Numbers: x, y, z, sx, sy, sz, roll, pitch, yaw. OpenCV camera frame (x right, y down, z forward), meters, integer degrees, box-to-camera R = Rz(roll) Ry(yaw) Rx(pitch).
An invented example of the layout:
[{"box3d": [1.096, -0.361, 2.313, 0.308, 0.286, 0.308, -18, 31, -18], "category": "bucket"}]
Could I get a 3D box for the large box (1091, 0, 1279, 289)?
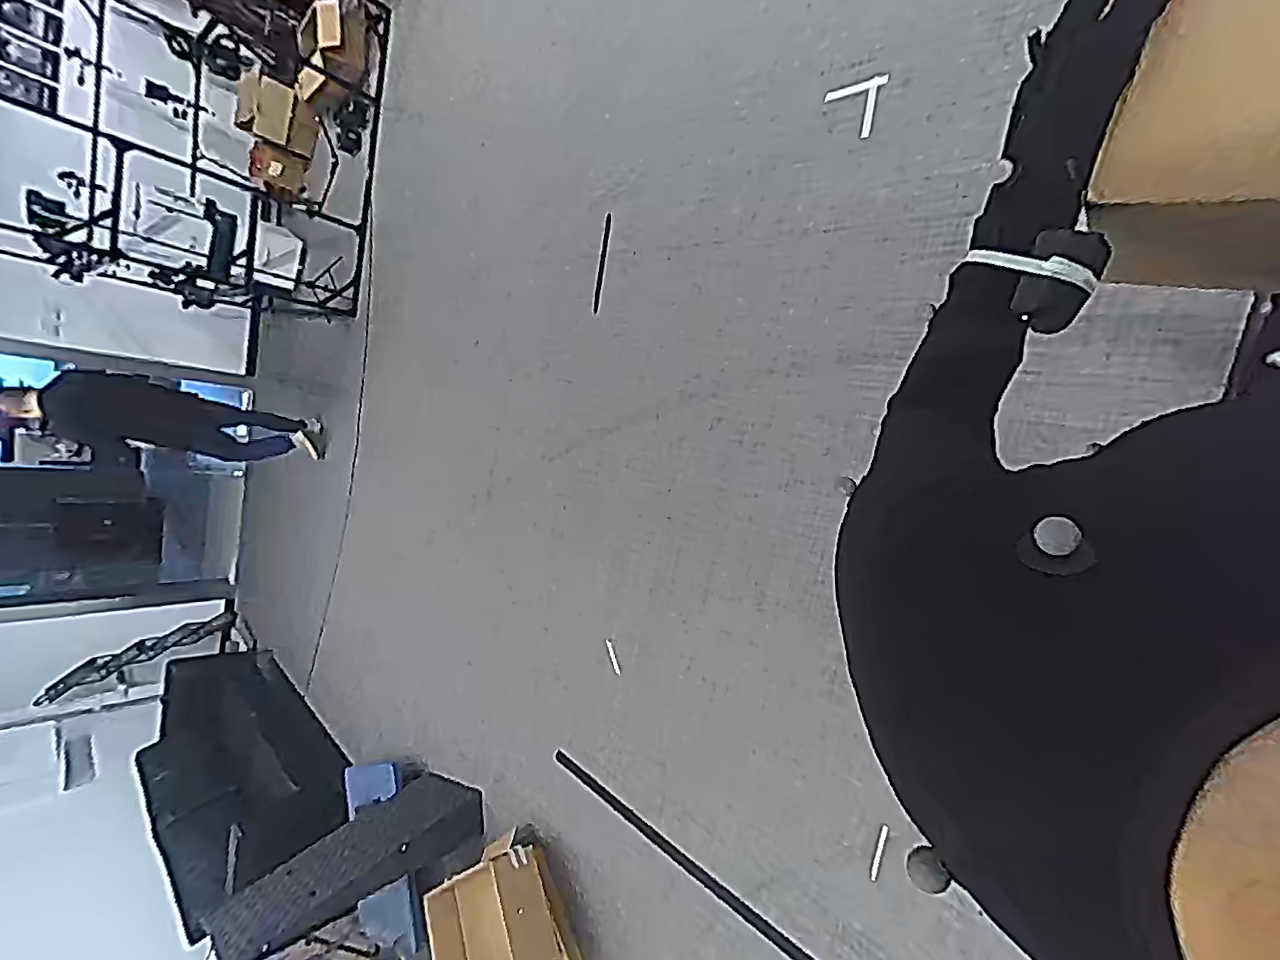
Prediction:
[{"box3d": [0.593, -0.306, 0.353, 0.408, 0.320, 0.320, 21, 109, 37], "category": "large box"}]
